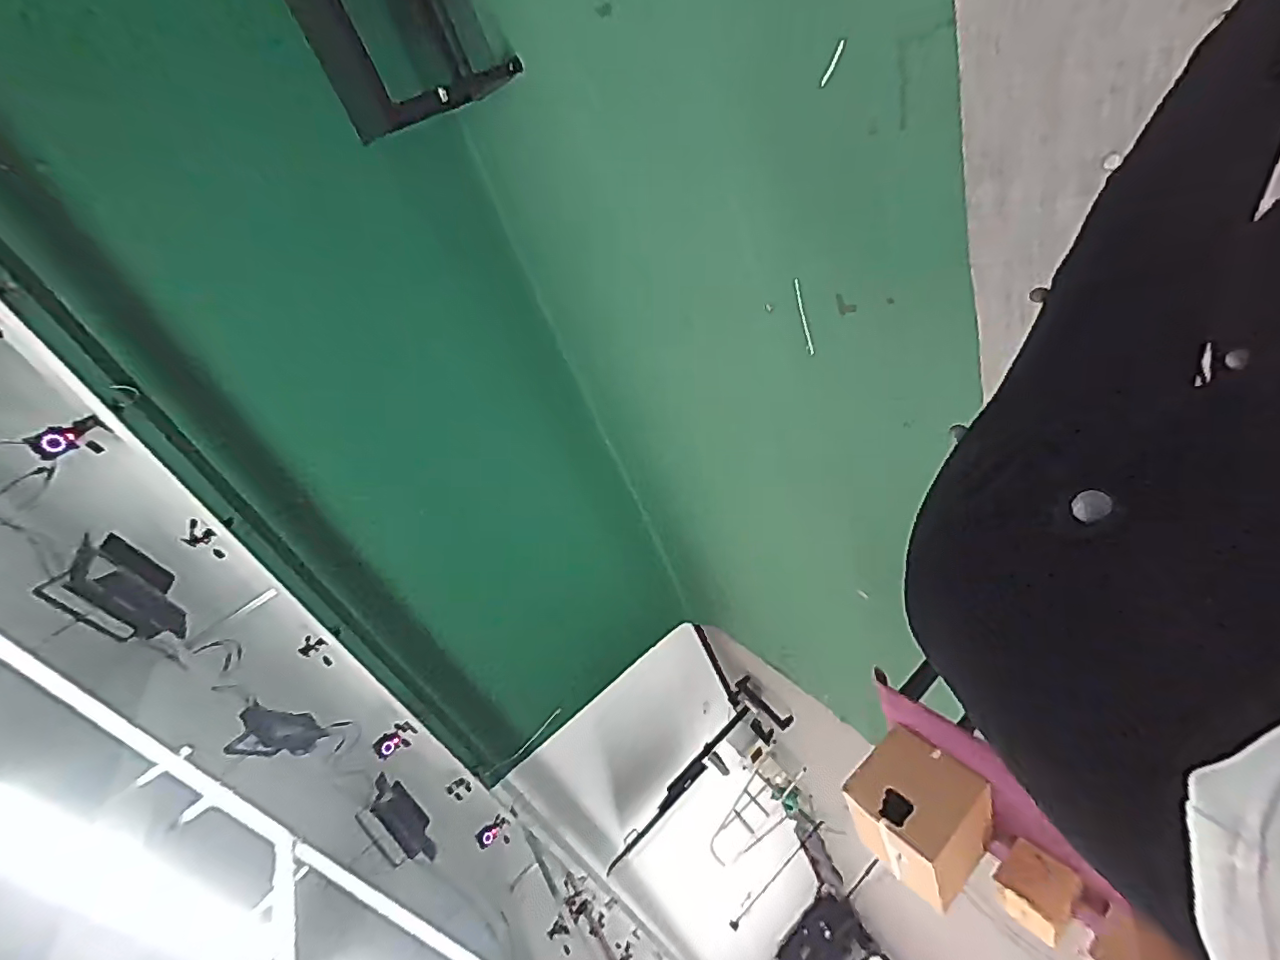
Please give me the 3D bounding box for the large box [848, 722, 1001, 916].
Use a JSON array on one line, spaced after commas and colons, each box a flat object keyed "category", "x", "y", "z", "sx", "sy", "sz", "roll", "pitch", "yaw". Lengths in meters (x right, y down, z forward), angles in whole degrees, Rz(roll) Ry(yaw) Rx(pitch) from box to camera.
[{"category": "large box", "x": 0.944, "y": 1.104, "z": 1.782, "sx": 0.320, "sy": 0.320, "sz": 0.408, "roll": 23, "pitch": 144, "yaw": 53}]
